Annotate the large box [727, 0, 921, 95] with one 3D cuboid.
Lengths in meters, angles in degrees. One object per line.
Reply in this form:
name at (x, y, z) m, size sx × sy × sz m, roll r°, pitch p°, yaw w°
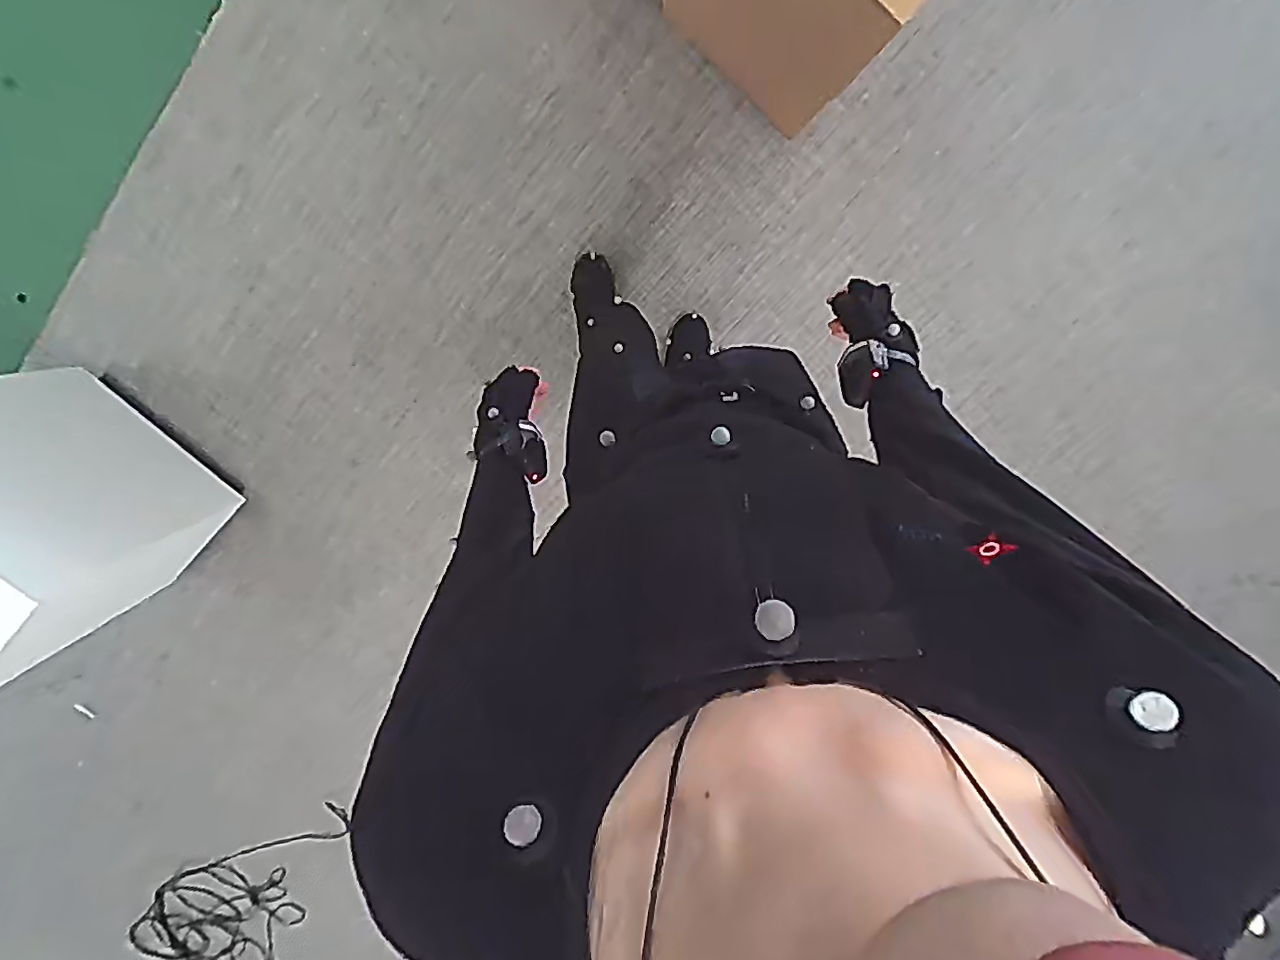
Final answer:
large box at (0.277, -0.866, 0.767) m, size 0.408 × 0.320 × 0.320 m, roll 36°, pitch 106°, yaw -9°
